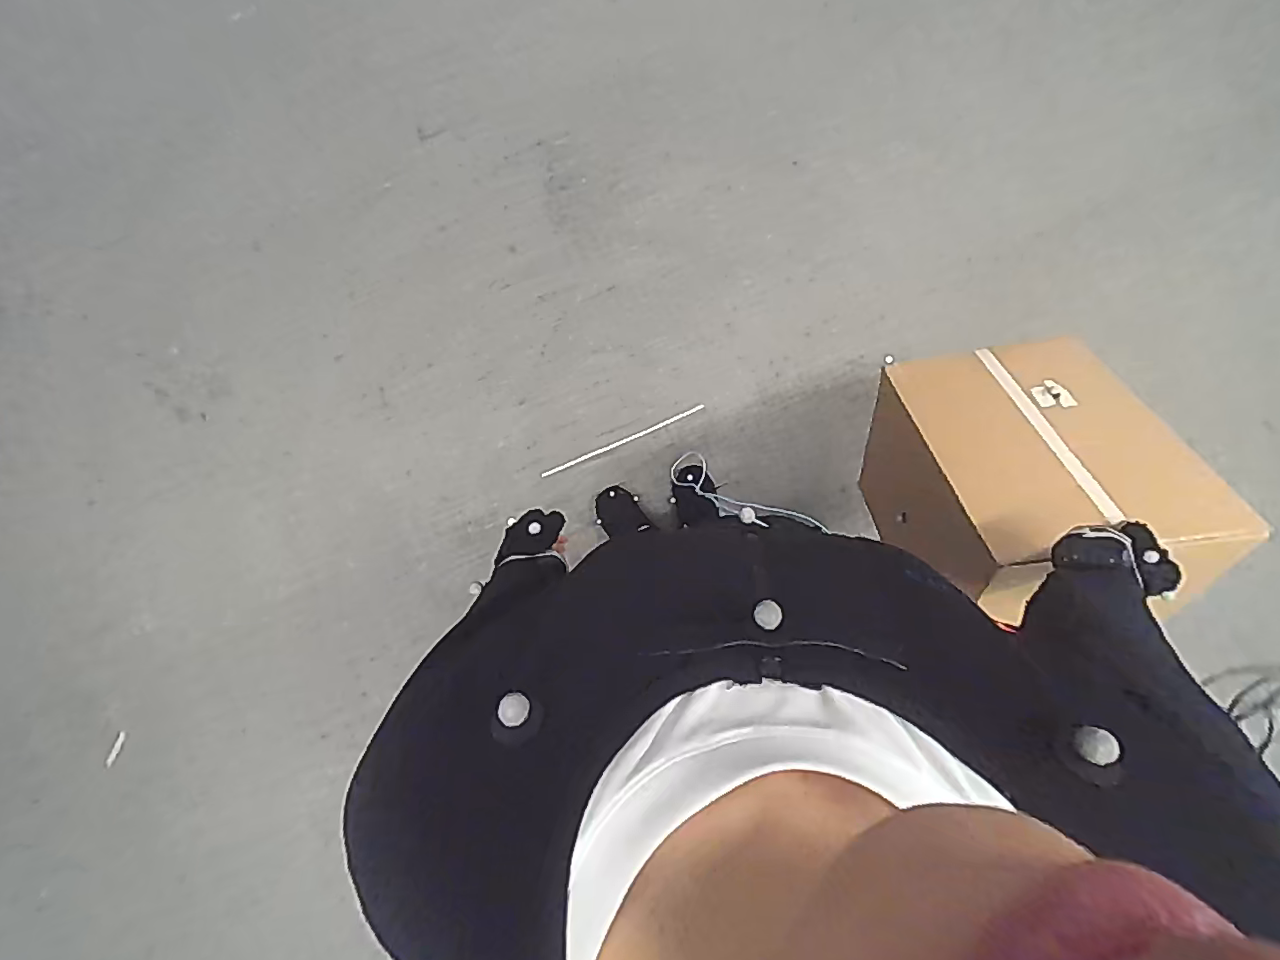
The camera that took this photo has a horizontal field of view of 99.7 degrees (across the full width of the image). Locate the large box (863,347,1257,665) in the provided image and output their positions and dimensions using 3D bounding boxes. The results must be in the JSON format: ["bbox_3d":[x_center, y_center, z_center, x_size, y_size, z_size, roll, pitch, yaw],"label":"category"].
[{"bbox_3d":[0.604,0.042,0.897,0.320,0.320,0.408,-7,48,5],"label":"large box"}]
